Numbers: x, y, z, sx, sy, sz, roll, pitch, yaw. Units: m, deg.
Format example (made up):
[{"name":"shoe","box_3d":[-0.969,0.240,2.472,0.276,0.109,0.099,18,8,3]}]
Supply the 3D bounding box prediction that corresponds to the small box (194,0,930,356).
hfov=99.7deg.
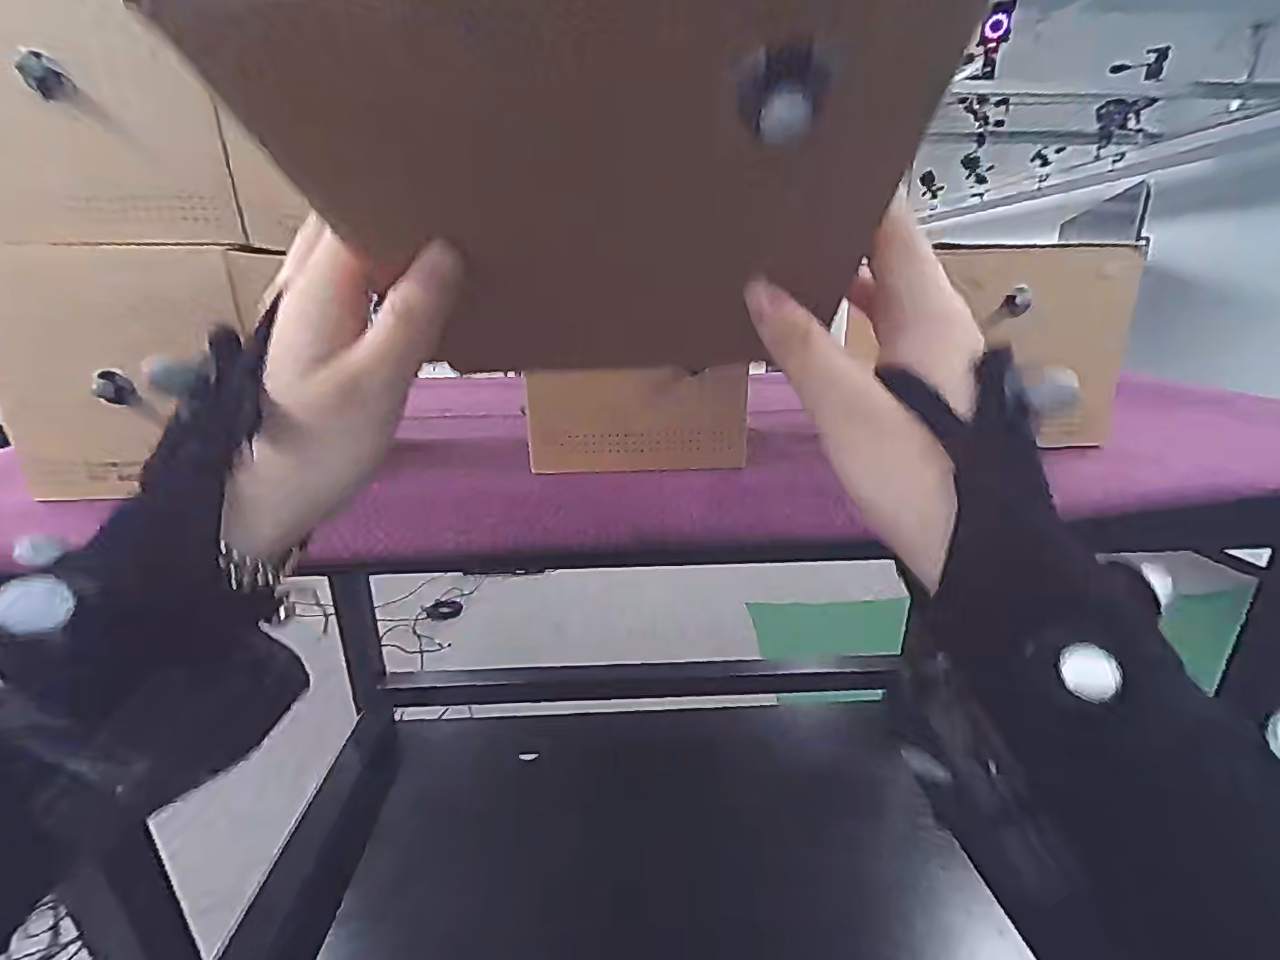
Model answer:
[{"name":"small box","box_3d":[-0.012,-0.160,0.209,0.179,0.168,0.176,-2,-17,2]}]

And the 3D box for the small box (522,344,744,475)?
[{"name":"small box","box_3d":[-0.008,-0.107,0.489,0.179,0.176,0.168,-2,18,-4]}]

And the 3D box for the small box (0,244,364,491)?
[{"name":"small box","box_3d":[-0.346,-0.093,0.440,0.168,0.176,0.179,-1,19,-5]}]

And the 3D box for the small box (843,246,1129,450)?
[{"name":"small box","box_3d":[0.313,-0.125,0.533,0.179,0.176,0.168,-1,16,-1]}]
